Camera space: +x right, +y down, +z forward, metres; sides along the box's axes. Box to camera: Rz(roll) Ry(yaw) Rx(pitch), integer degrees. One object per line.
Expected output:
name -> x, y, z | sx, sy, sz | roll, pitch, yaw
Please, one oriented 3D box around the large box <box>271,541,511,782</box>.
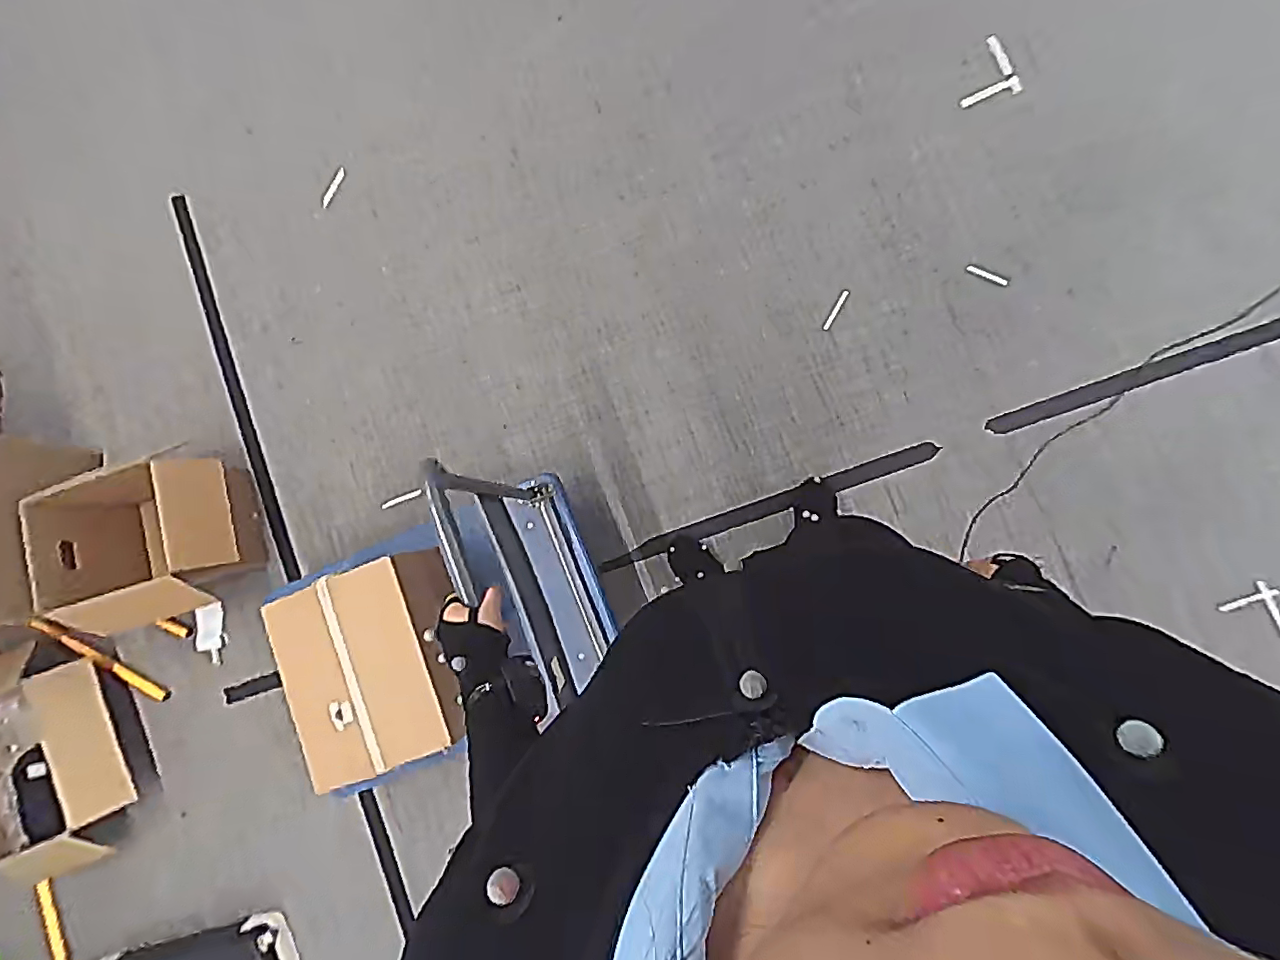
large box -> -0.554, 0.389, 1.261 | 0.320, 0.320, 0.408 | -22, 85, 7
